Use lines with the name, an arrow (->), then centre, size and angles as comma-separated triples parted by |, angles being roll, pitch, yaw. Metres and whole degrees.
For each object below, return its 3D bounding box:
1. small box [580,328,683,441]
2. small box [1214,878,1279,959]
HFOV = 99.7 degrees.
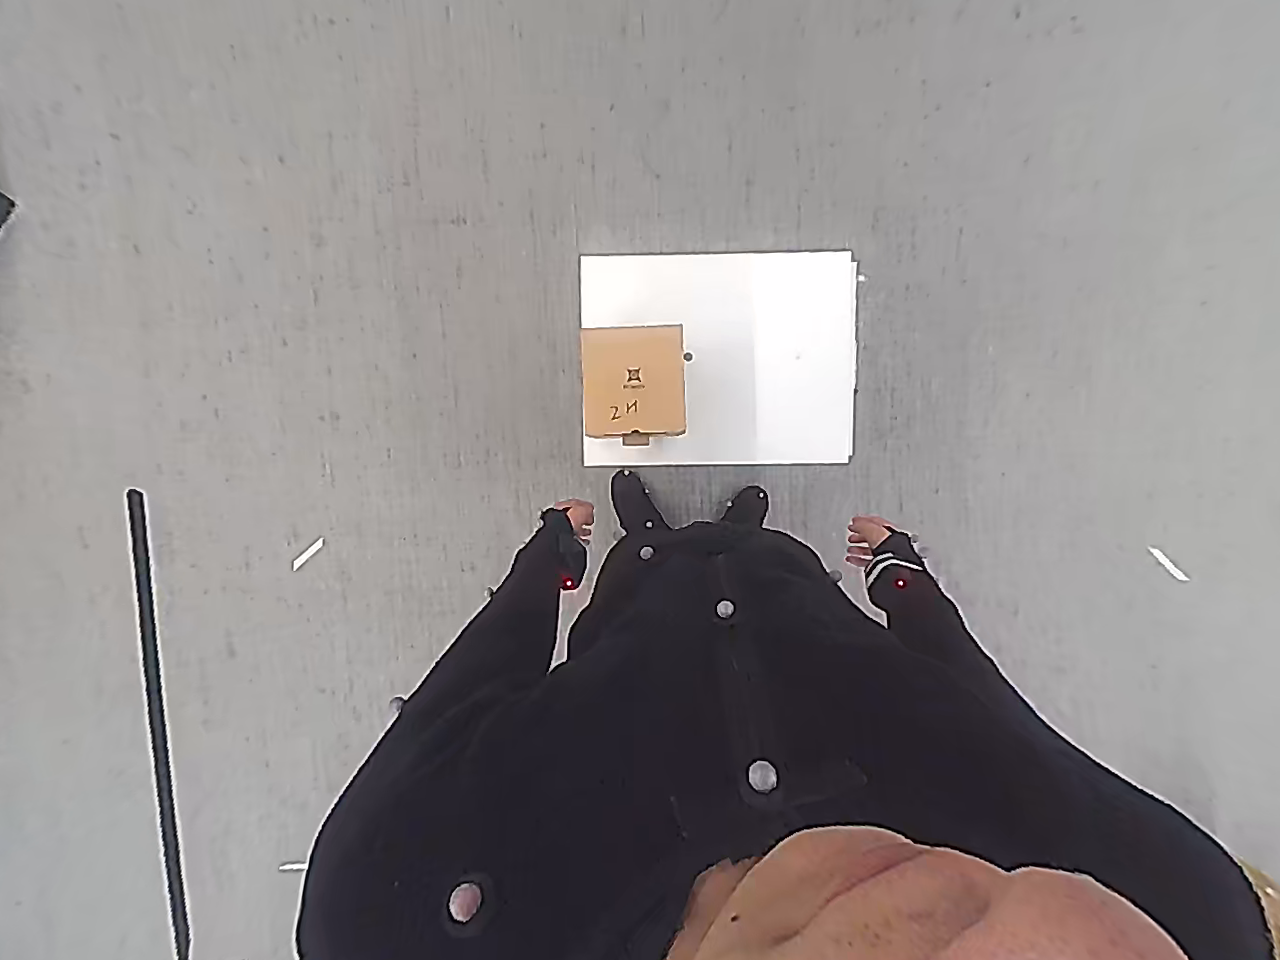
small box -> -0.013, -0.158, 0.942 | 0.168, 0.176, 0.179 | -2, 94, 1
small box -> 1.696, 1.211, 1.438 | 0.168, 0.176, 0.179 | 3, 92, 0
